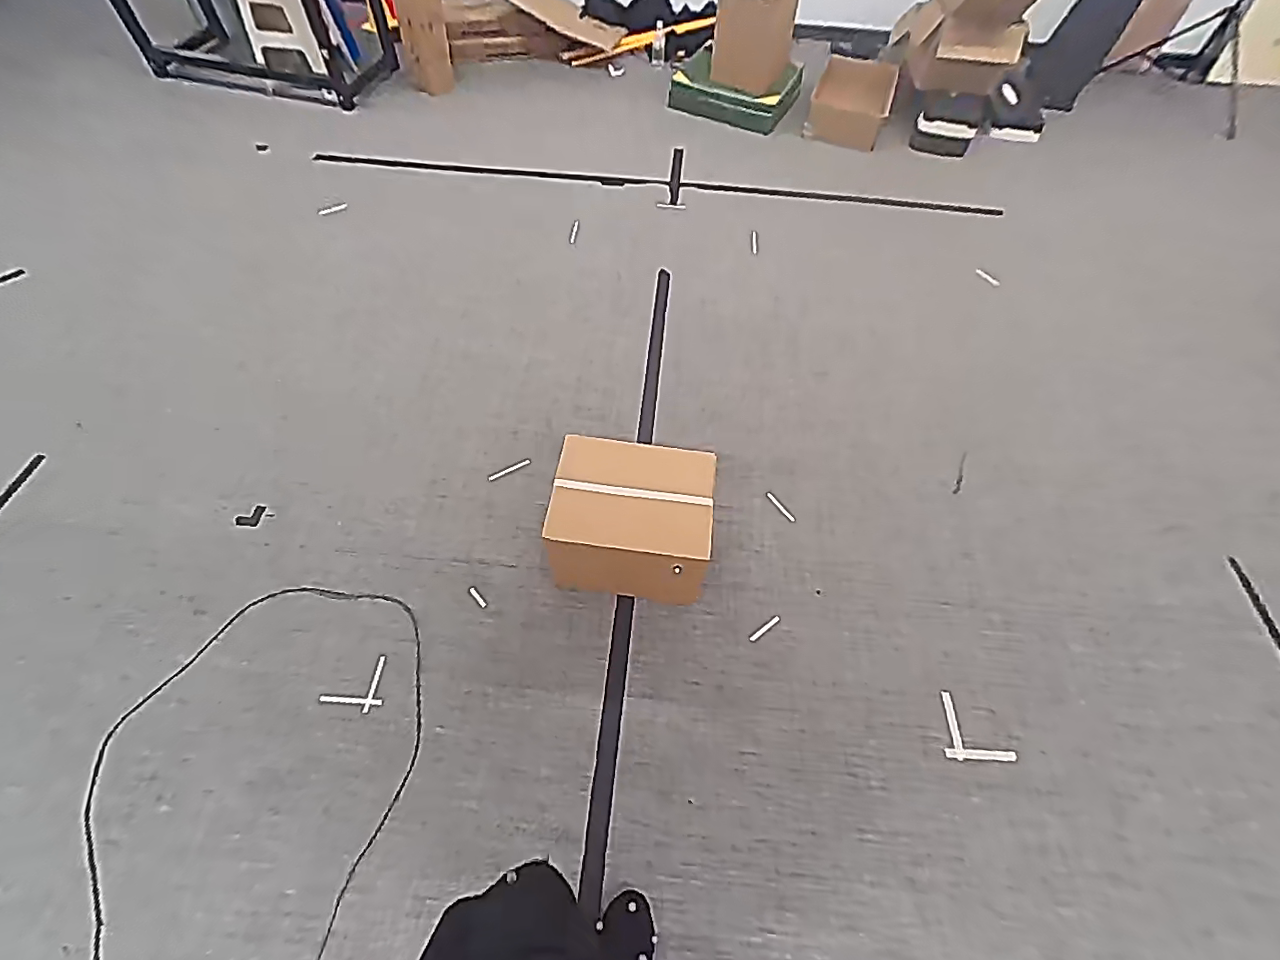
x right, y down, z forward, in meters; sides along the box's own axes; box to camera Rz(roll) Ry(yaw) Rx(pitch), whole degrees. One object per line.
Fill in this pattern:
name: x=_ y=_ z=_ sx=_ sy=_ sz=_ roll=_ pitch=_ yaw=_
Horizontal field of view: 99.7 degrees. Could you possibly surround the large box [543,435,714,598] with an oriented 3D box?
large box: x=-0.022 y=0.109 z=1.473 sx=0.408 sy=0.320 sz=0.320 roll=8 pitch=58 yaw=1
